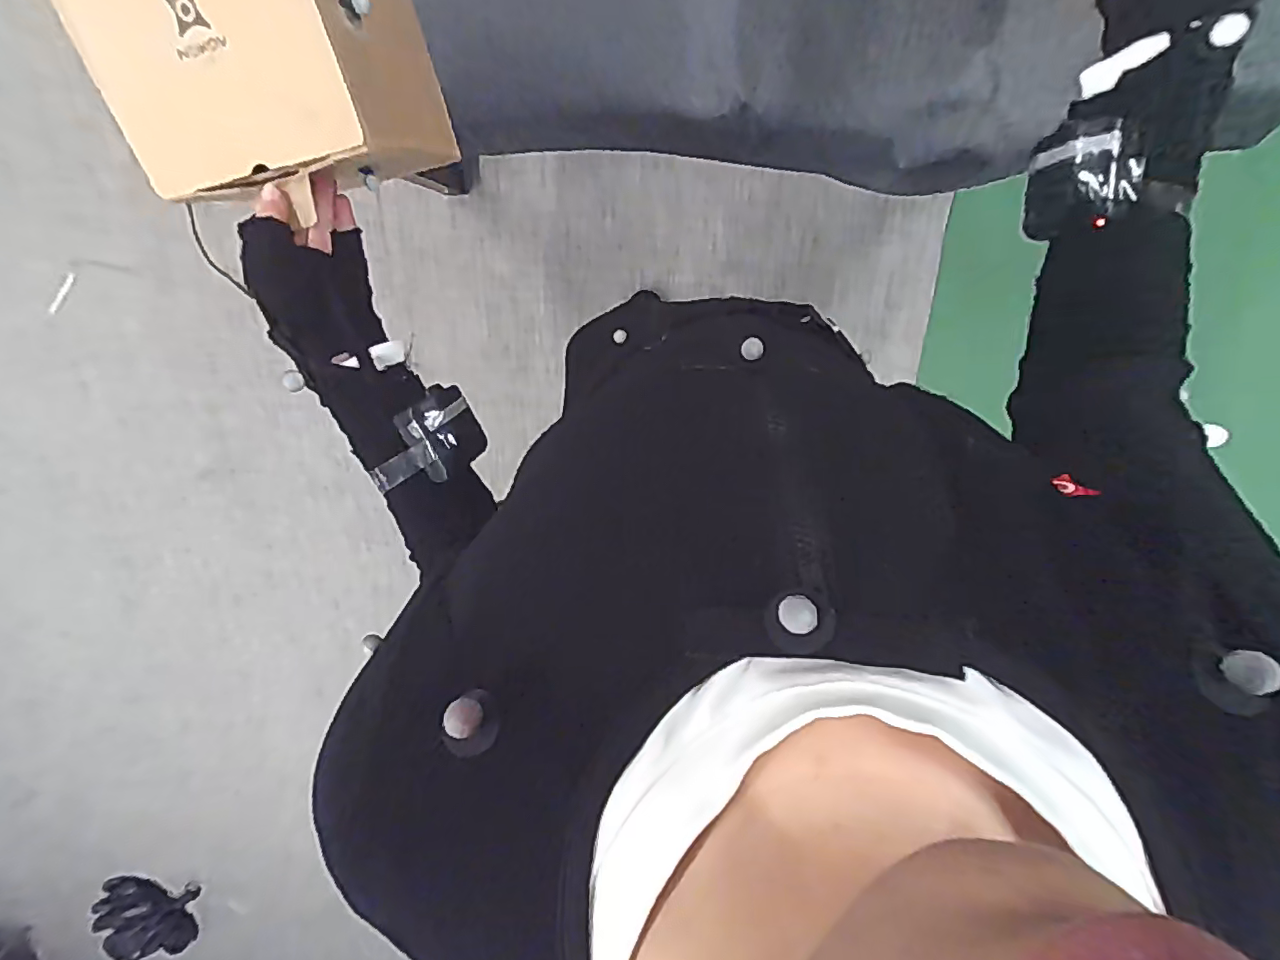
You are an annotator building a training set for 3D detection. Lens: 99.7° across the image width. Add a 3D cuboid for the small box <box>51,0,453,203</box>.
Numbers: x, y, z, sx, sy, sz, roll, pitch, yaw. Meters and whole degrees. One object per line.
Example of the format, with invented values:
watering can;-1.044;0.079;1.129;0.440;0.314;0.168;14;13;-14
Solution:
small box;-0.264;-0.317;0.394;0.168;0.176;0.179;-9;116;9
